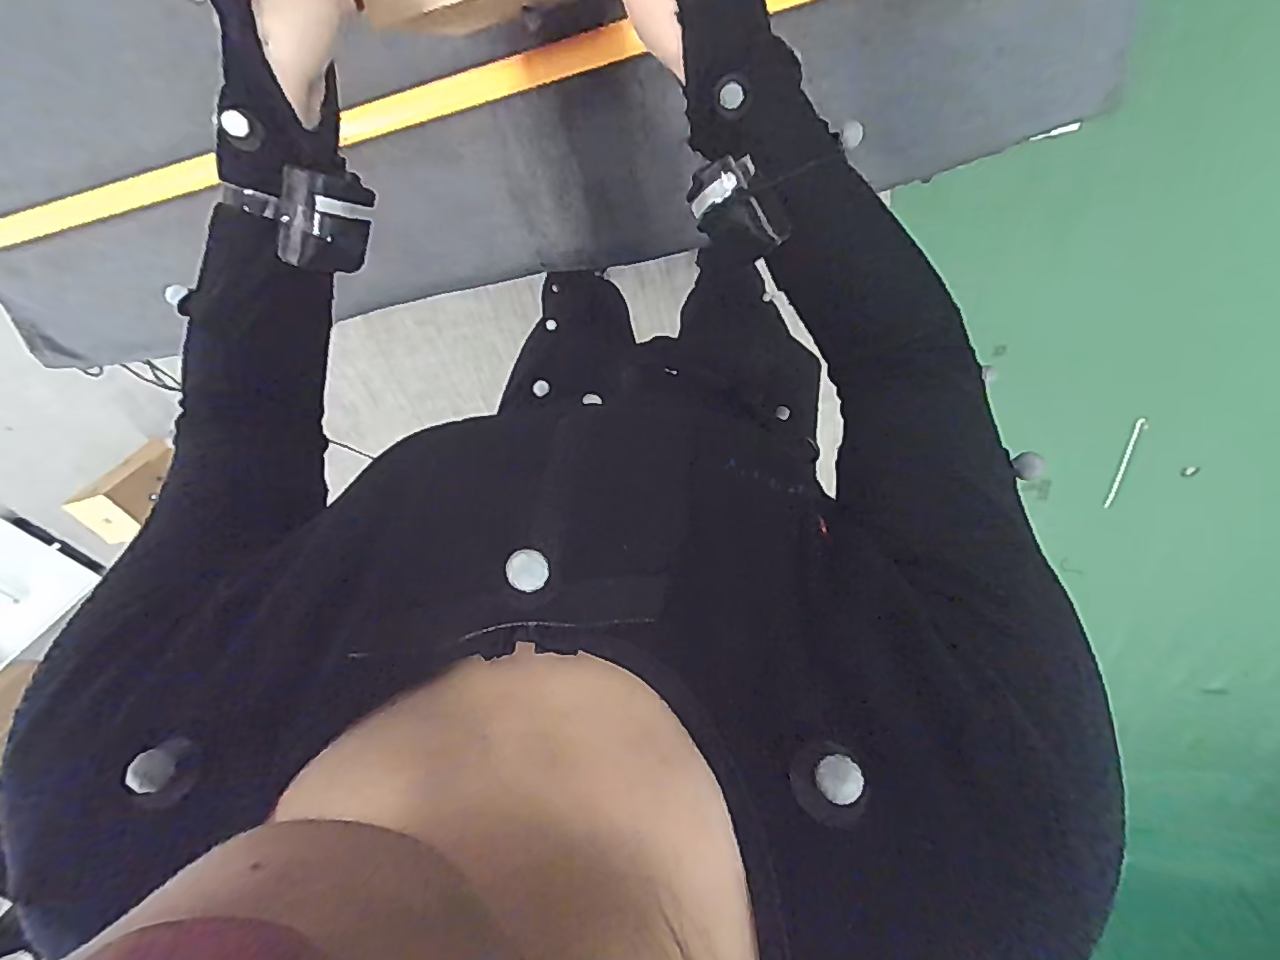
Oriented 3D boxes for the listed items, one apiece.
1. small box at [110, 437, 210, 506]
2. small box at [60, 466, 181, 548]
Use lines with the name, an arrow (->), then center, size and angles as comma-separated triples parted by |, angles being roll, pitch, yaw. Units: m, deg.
small box -> -1.544, -0.021, 1.765 | 0.179, 0.176, 0.168 | -10, 127, 15
small box -> -1.551, 0.077, 1.633 | 0.179, 0.176, 0.168 | -11, 127, 16
